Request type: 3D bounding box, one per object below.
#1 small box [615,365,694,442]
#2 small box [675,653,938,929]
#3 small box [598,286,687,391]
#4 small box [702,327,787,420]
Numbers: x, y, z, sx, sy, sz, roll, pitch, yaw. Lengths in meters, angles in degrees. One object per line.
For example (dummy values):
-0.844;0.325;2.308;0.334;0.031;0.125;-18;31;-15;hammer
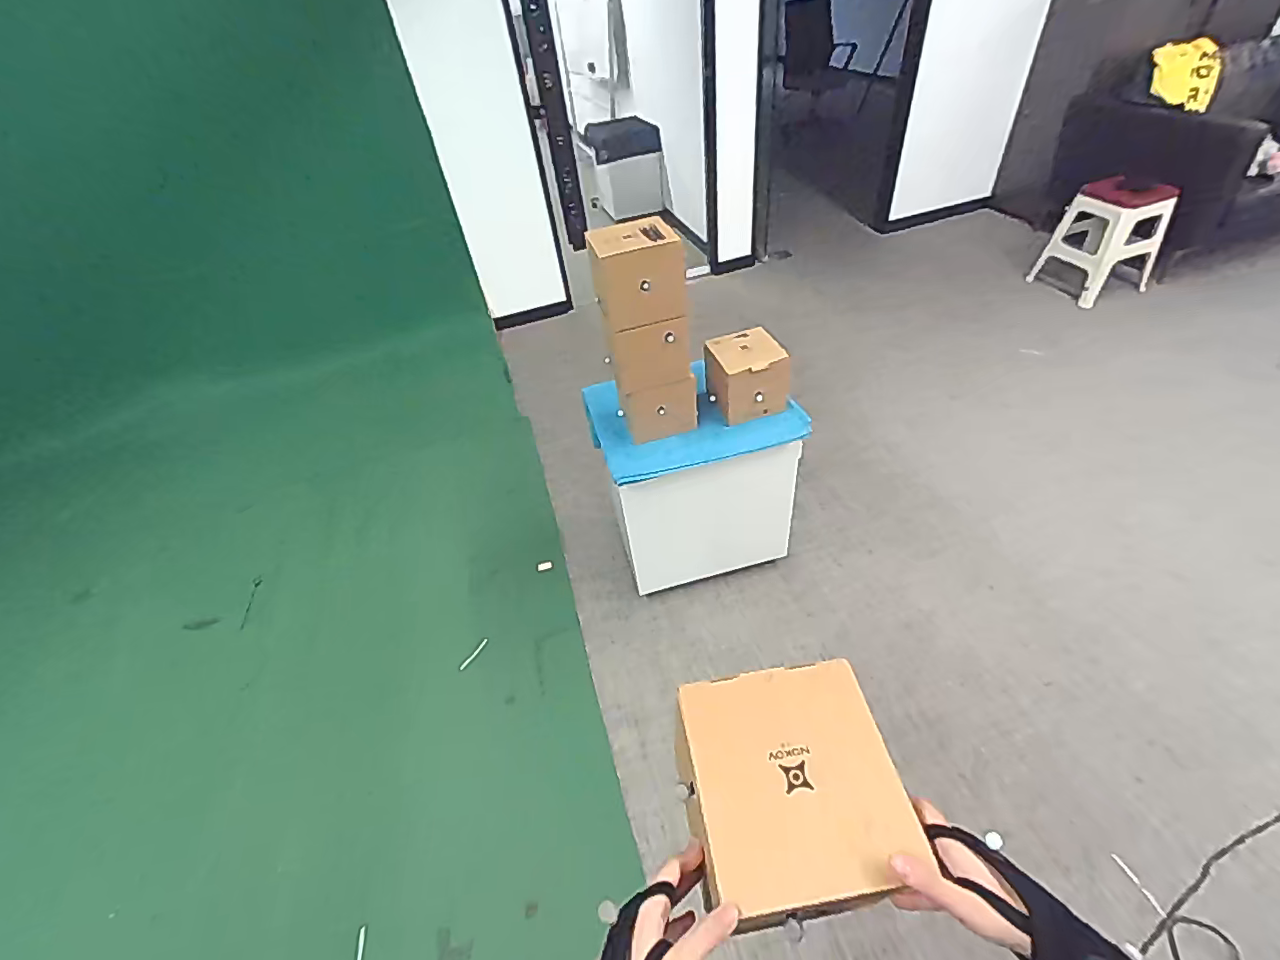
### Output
0.035;-0.224;1.415;0.179;0.176;0.168;-15;44;-7;small box
0.129;0.289;0.499;0.168;0.176;0.179;-8;45;-5;small box
0.009;-0.339;1.300;0.179;0.176;0.168;-15;43;-7;small box
0.273;-0.275;1.430;0.168;0.176;0.179;-15;44;-7;small box
